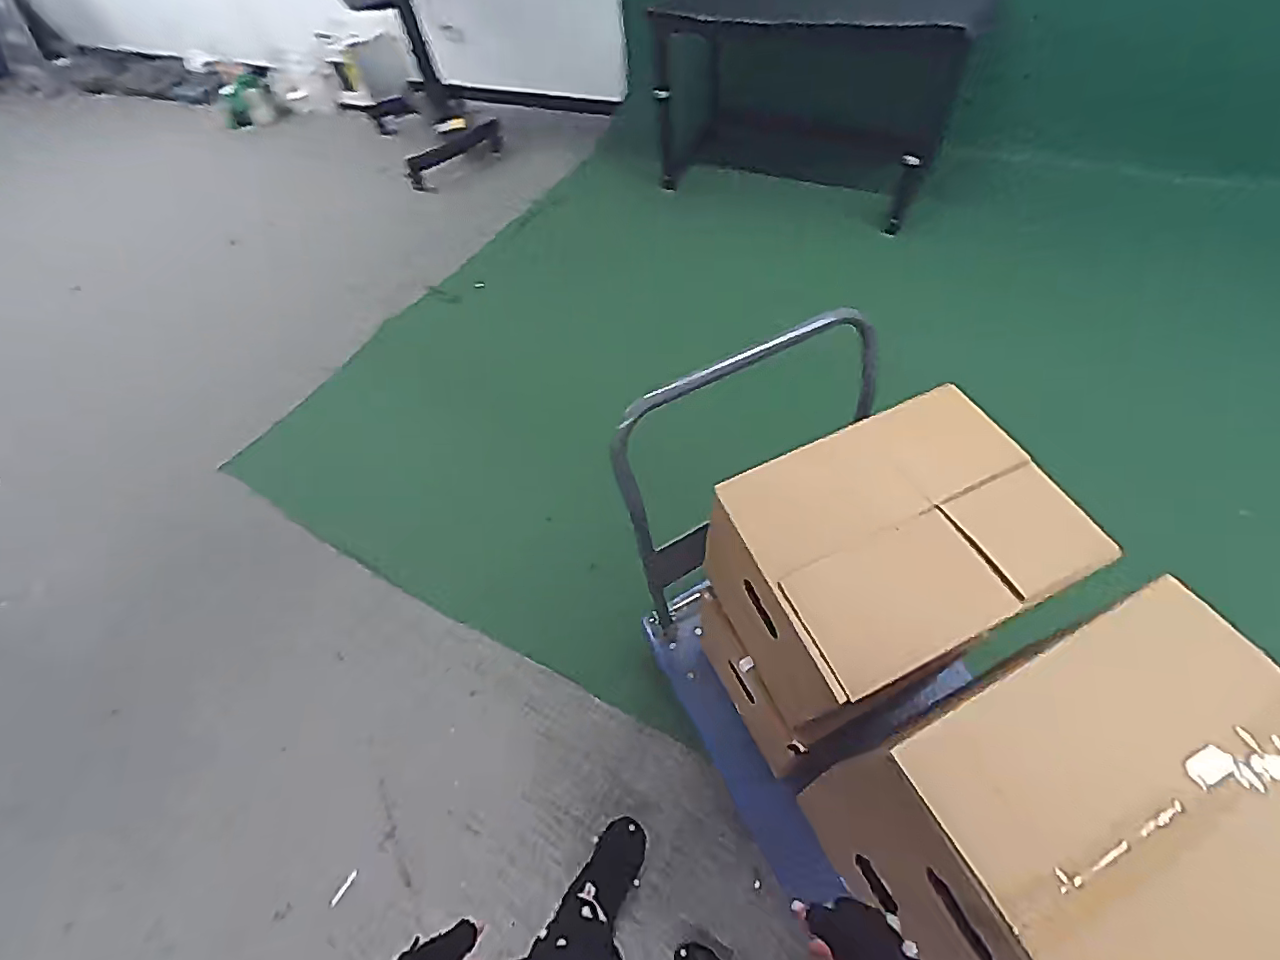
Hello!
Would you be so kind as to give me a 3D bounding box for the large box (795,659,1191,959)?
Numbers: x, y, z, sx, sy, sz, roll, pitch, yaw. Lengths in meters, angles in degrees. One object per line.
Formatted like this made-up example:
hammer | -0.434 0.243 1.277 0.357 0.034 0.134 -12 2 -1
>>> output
large box | 0.523 0.570 0.895 0.408 0.320 0.320 -26 53 -10
